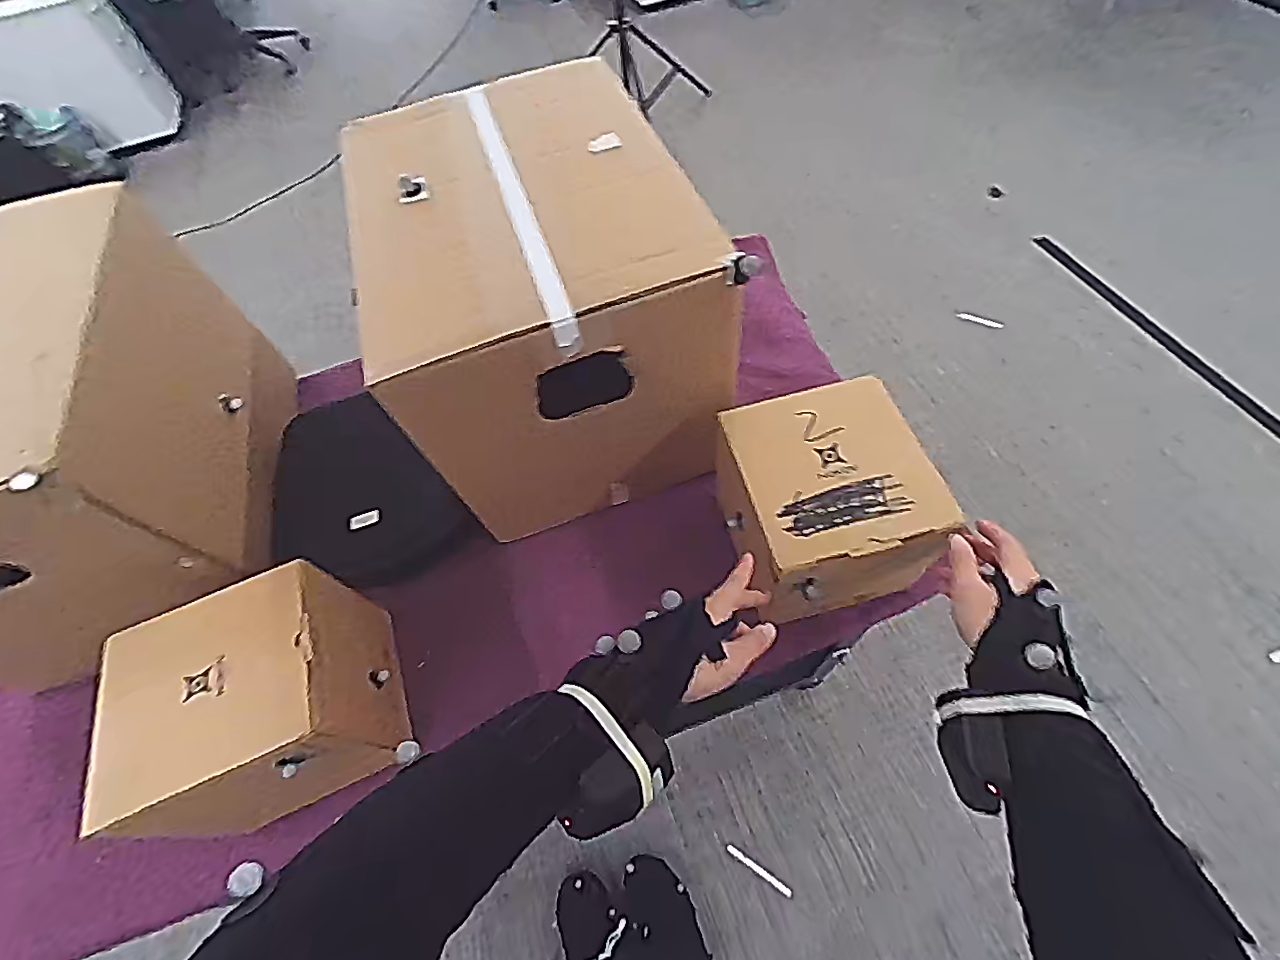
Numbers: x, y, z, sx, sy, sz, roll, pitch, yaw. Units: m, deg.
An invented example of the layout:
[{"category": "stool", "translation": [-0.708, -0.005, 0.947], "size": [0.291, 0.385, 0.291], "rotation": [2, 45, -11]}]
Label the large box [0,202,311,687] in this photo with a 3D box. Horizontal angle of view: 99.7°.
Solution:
[{"category": "large box", "translation": [-0.630, -0.031, 0.623], "size": [0.320, 0.320, 0.408], "rotation": [-20, 62, -5]}]
